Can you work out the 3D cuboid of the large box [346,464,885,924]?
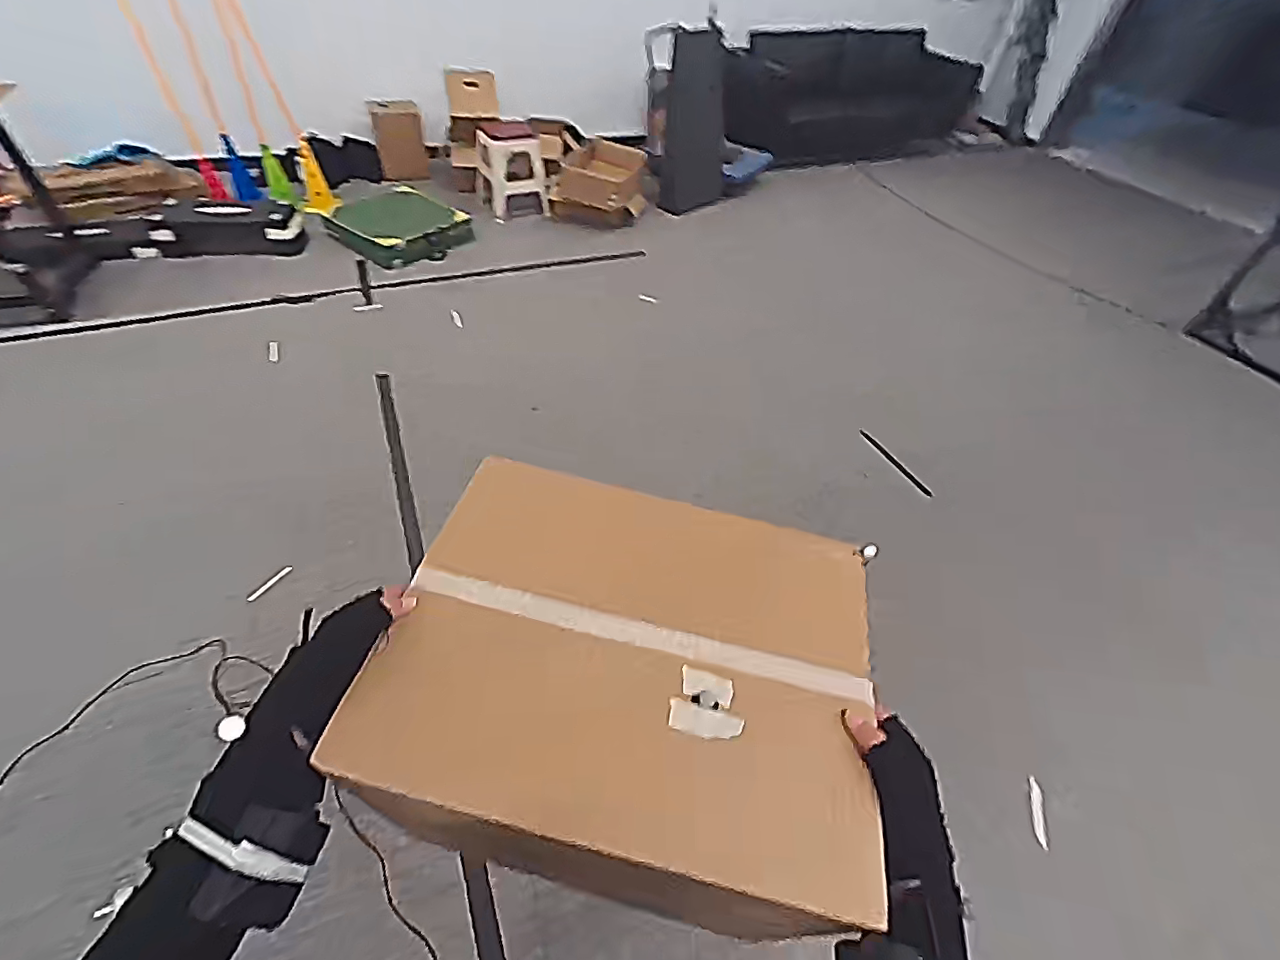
[{"bbox_3d":[-0.010,0.233,0.588,0.408,0.320,0.320,15,50,4],"label":"large box"}]
